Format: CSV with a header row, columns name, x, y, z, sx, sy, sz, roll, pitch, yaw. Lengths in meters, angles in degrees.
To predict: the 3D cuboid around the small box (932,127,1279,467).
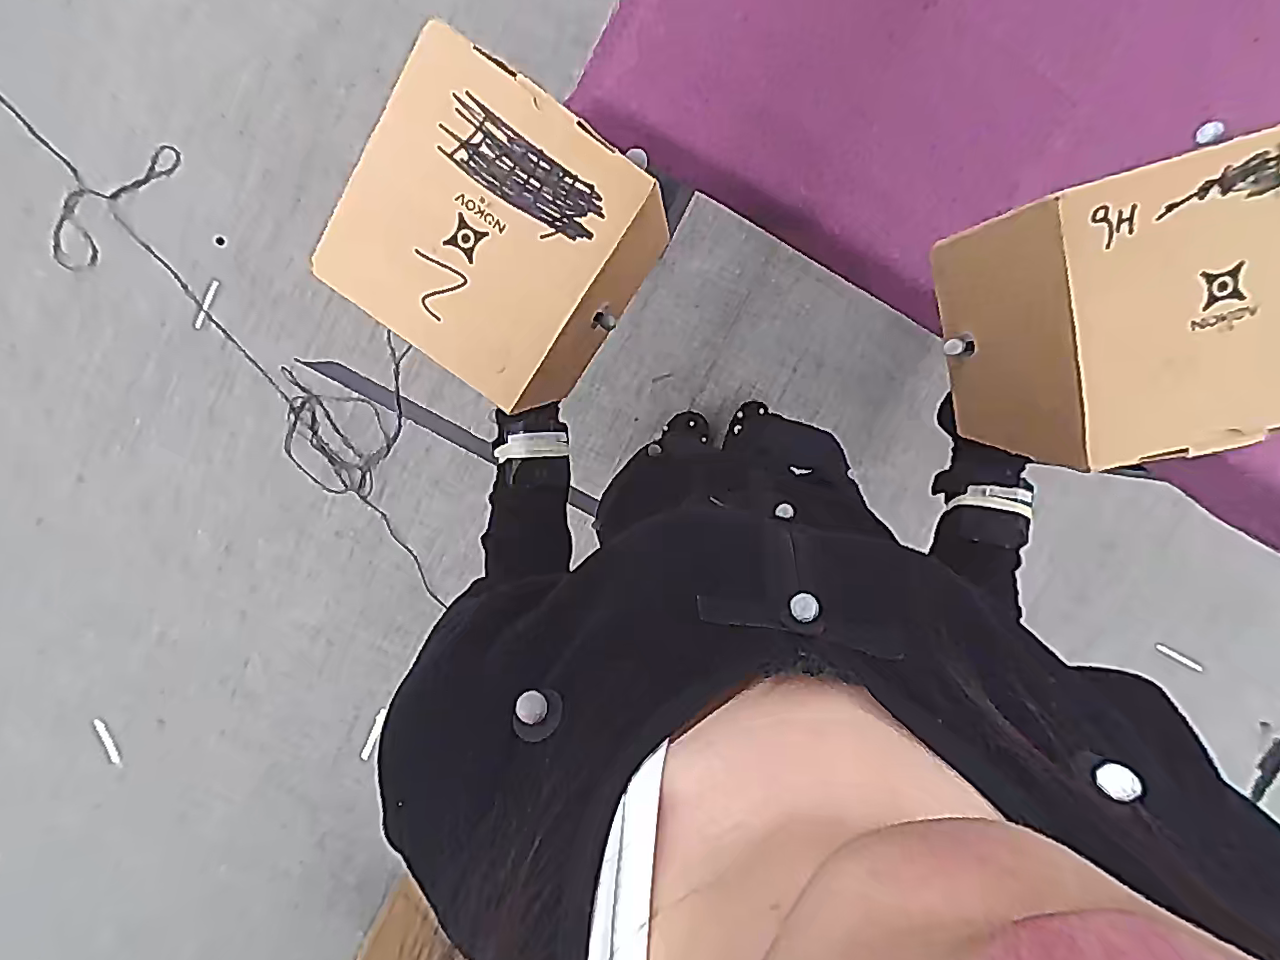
name,x,y,z,sx,sy,sz,roll,pitch,yaw
small box,0.347,-0.128,0.404,0.168,0.176,0.179,-14,103,7
